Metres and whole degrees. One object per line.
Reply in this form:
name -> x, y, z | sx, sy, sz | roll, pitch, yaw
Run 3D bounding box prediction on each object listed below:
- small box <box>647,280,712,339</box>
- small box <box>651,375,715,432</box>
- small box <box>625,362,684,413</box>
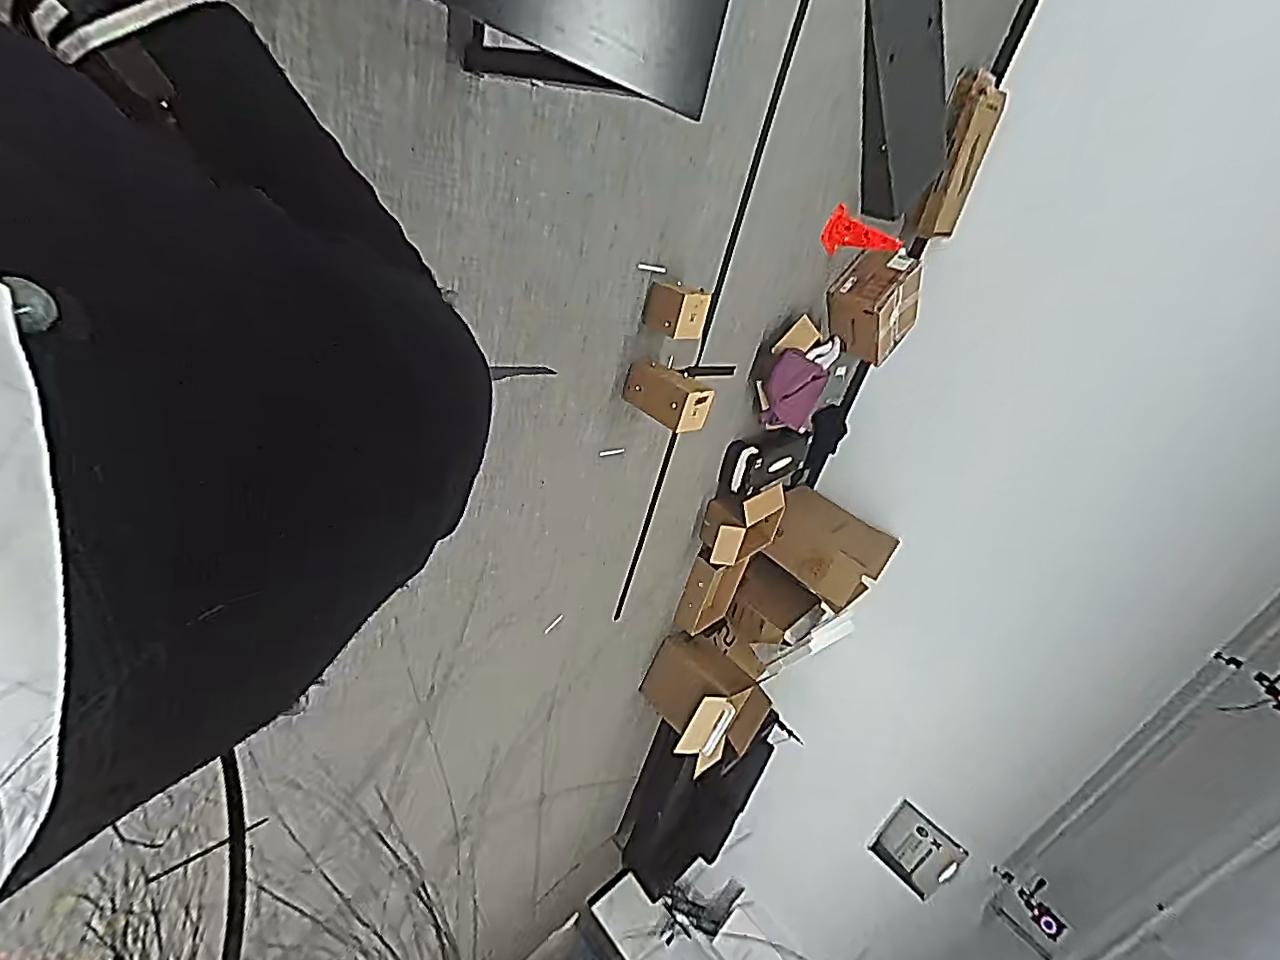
small box -> 0.150, -0.672, 2.131 | 0.168, 0.176, 0.179 | -16, 131, -43
small box -> 0.166, -0.315, 2.171 | 0.168, 0.176, 0.179 | -14, 131, -44
small box -> 0.063, -0.391, 2.279 | 0.179, 0.176, 0.168 | -11, 128, -45
